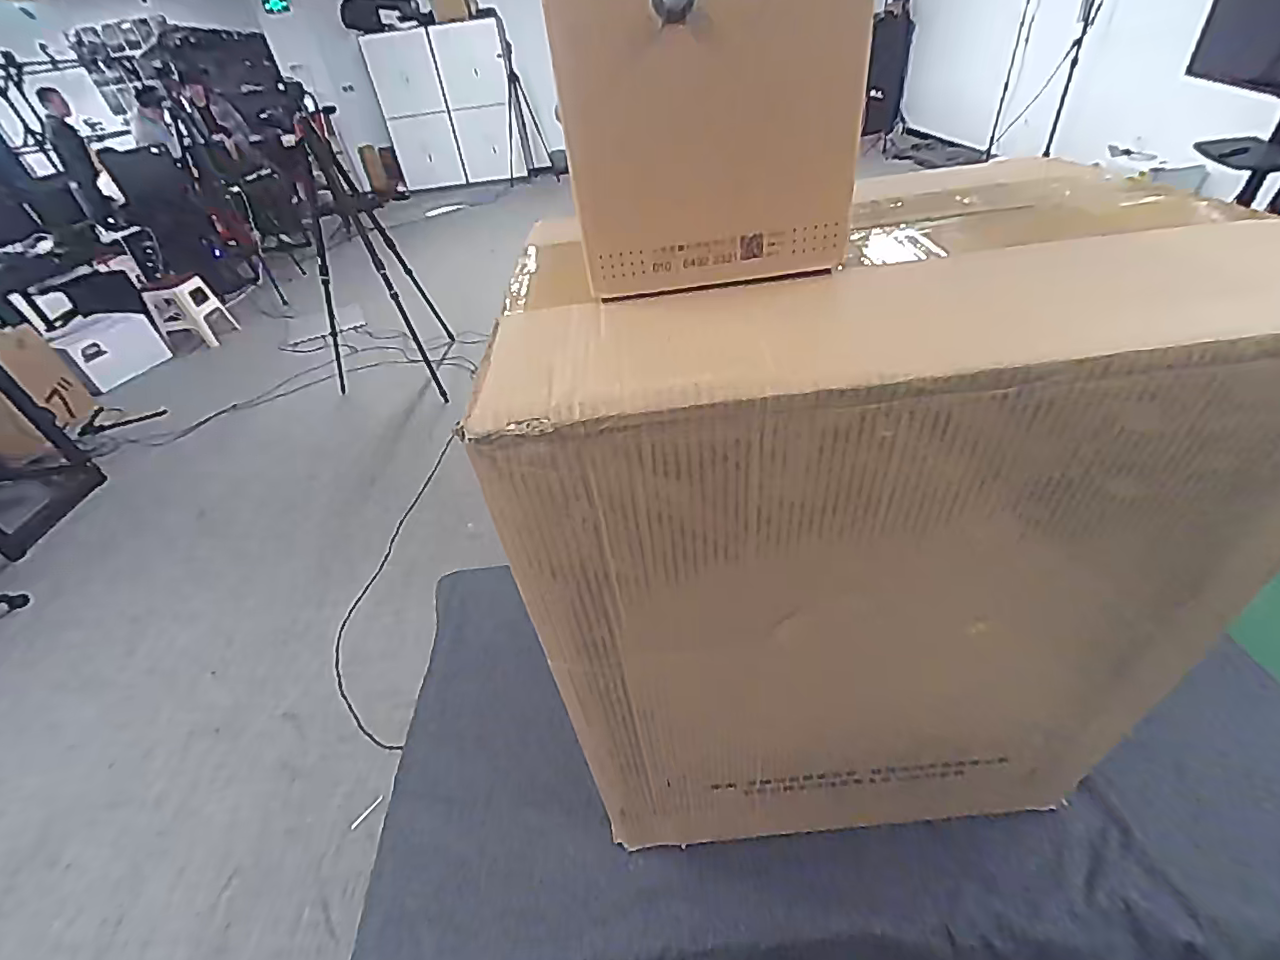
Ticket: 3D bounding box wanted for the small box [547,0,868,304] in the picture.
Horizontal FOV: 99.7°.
[{"bbox_3d":[0.040,-0.238,0.381,0.168,0.176,0.179,-7,37,3],"label":"small box"}]
